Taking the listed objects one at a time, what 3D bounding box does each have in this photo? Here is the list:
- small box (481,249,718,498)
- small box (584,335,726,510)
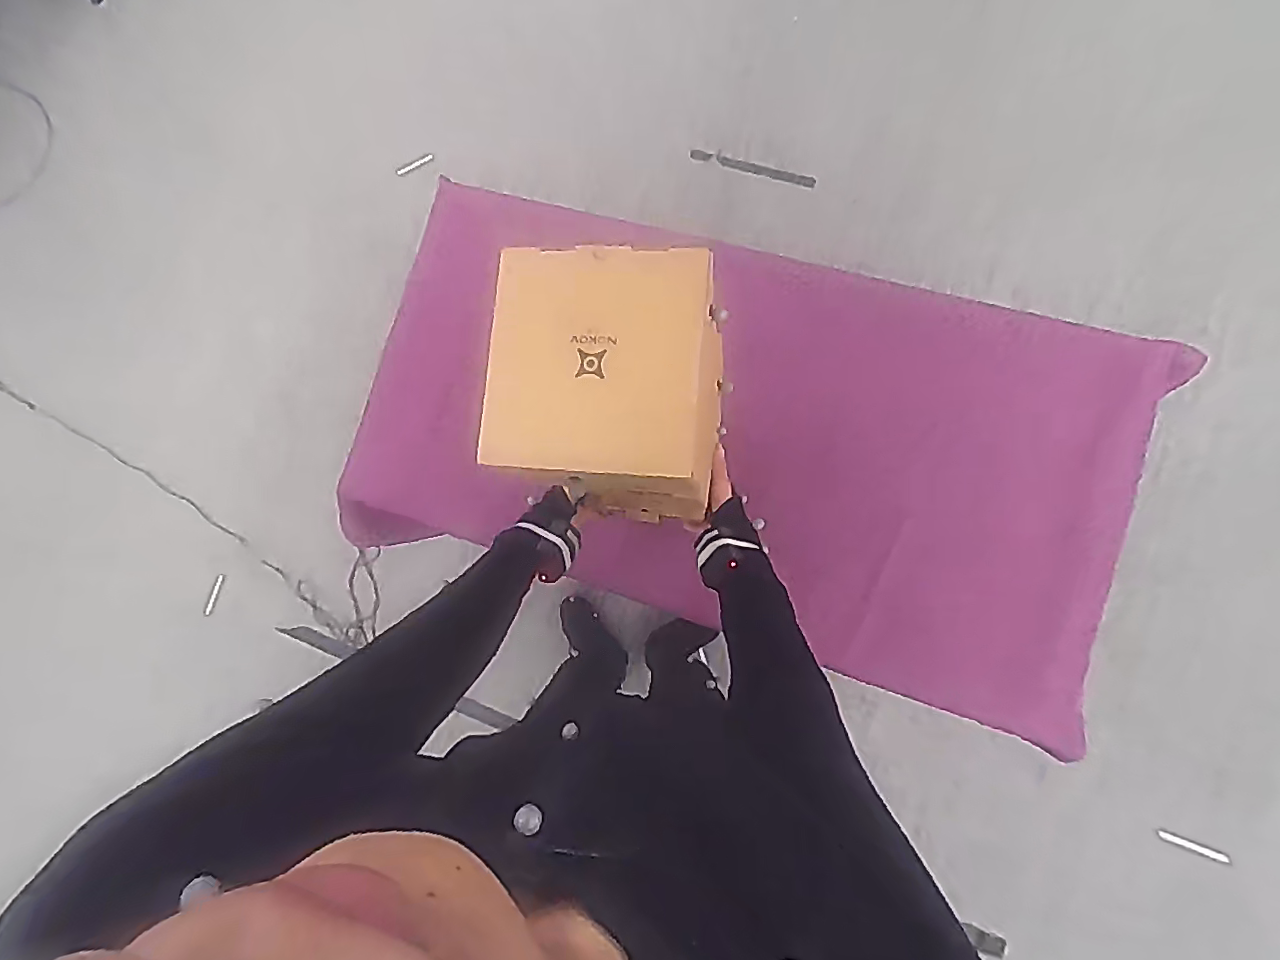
[{"bbox_3d":[-0.020,-0.080,0.480,0.168,0.176,0.179,4,83,10],"label":"small box"},{"bbox_3d":[0.009,-0.064,0.639,0.168,0.176,0.179,7,85,10],"label":"small box"}]
